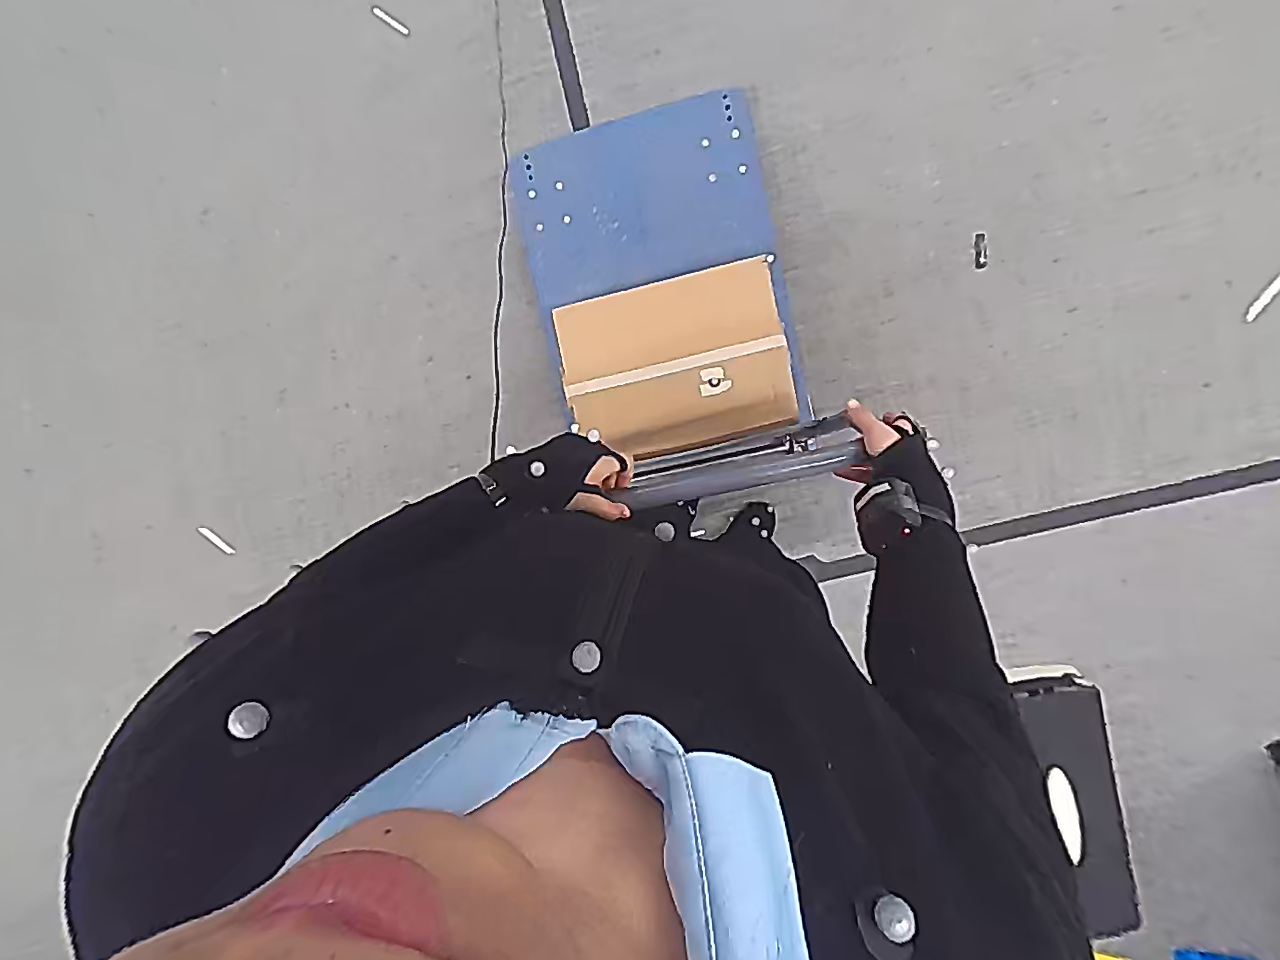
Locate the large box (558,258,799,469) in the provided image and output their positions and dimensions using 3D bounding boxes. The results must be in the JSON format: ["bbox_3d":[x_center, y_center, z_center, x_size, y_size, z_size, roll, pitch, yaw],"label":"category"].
[{"bbox_3d":[0.081,-0.218,1.150,0.408,0.320,0.320,-12,93,7],"label":"large box"}]
